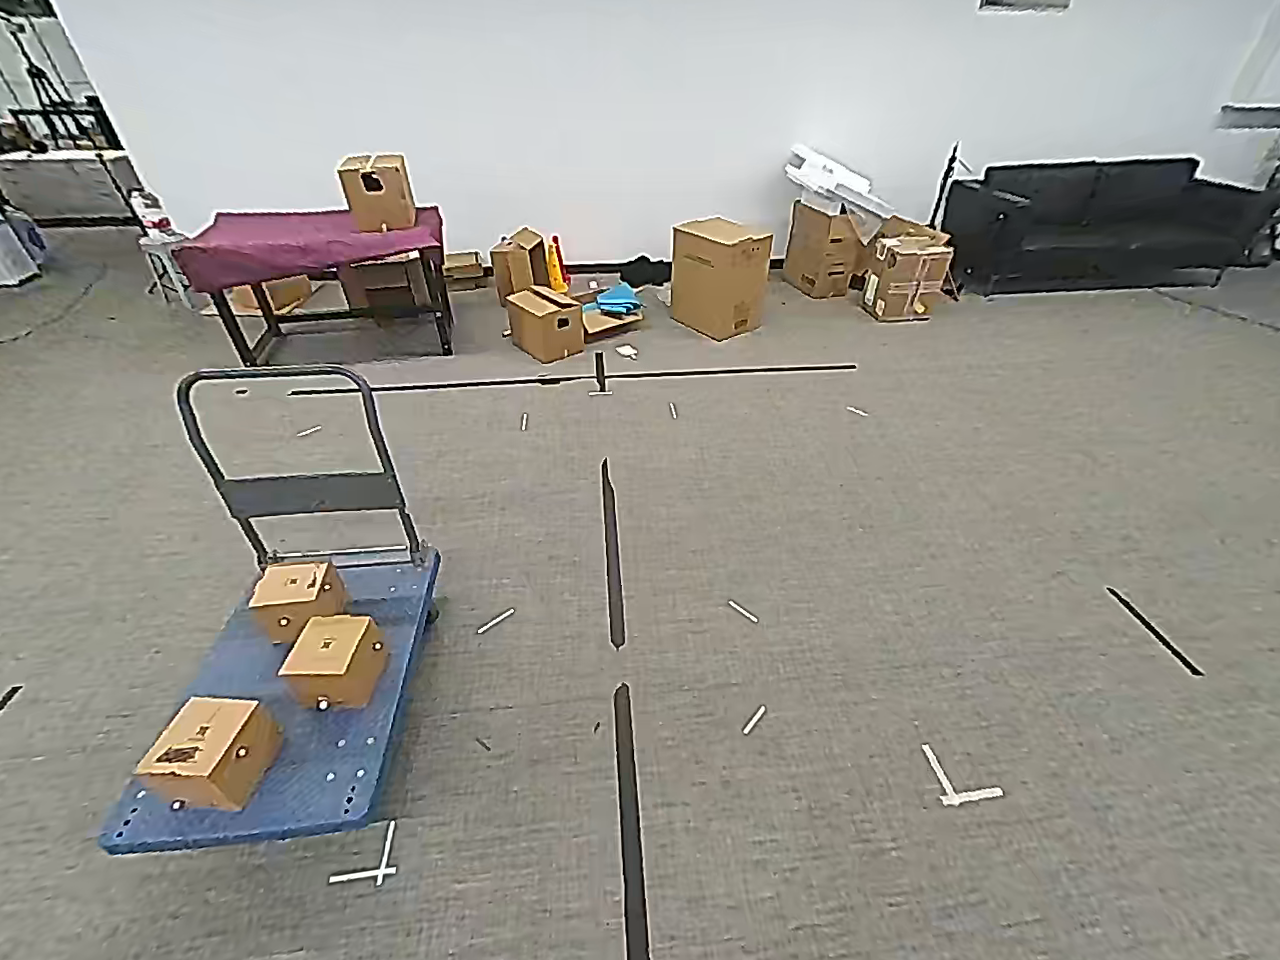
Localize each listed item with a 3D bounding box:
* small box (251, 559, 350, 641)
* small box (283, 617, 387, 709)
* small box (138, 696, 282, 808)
[{"bbox_3d":[-0.998,0.359,1.605,0.179,0.176,0.168,-6,39,-7],"label":"small box"},{"bbox_3d":[-0.801,0.488,1.445,0.168,0.176,0.179,-1,39,1],"label":"small box"},{"bbox_3d":[-0.978,0.631,1.253,0.168,0.176,0.179,3,37,3],"label":"small box"}]
